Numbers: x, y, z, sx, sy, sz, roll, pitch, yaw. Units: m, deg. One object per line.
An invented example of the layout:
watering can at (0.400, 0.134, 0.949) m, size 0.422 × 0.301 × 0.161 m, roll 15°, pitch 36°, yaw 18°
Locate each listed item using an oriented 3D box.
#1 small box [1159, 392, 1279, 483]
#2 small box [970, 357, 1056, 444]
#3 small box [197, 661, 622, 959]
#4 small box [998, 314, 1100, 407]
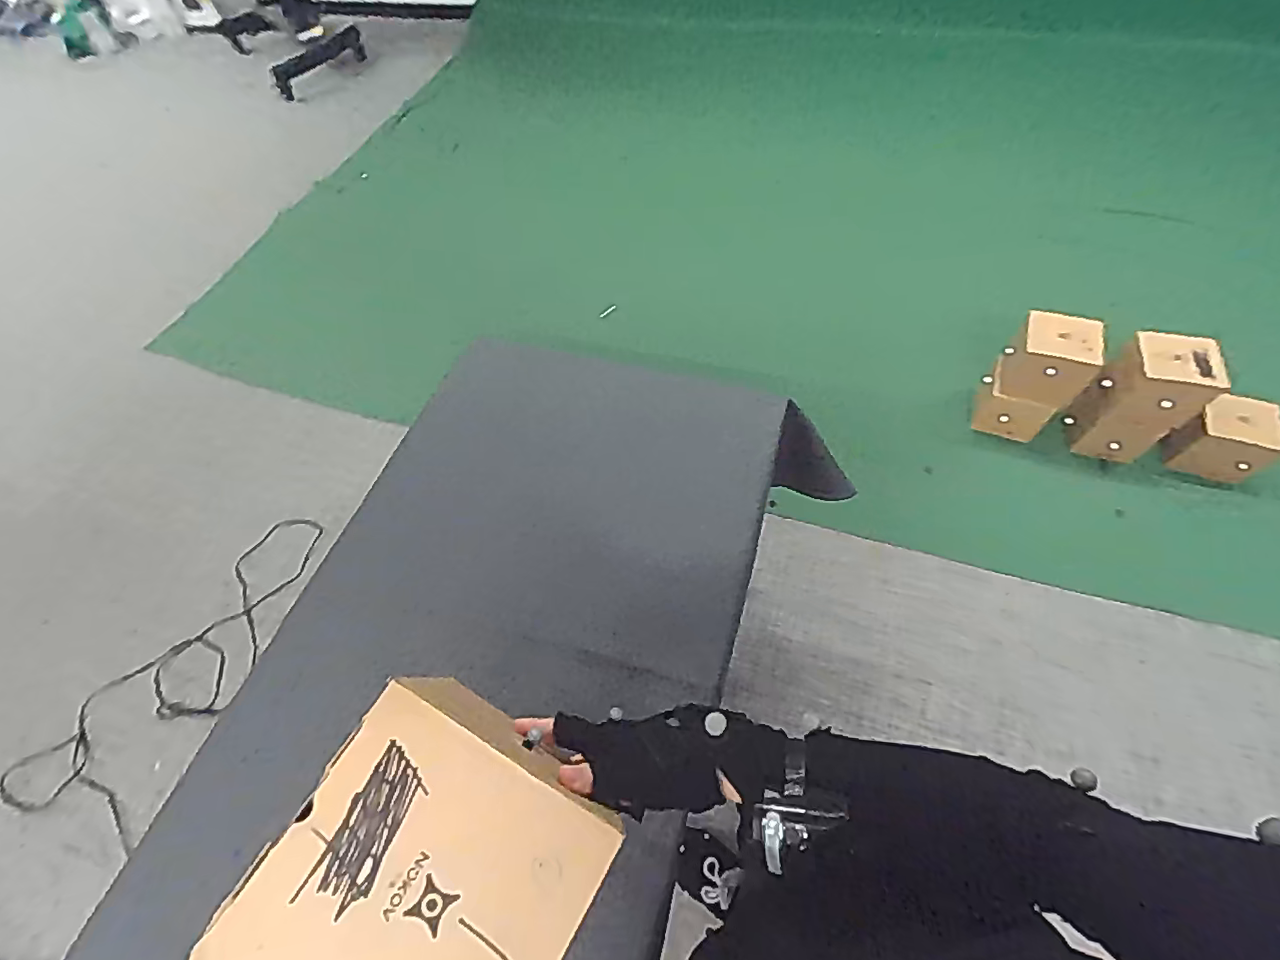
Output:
small box at (1.612, -0.113, 1.510) m, size 0.179 × 0.176 × 0.168 m, roll 18°, pitch 62°, yaw 15°
small box at (1.126, -0.235, 1.633) m, size 0.168 × 0.176 × 0.179 m, roll 18°, pitch 62°, yaw 16°
small box at (-0.134, 0.251, 0.382) m, size 0.179 × 0.176 × 0.168 m, roll 32°, pitch 69°, yaw 5°
small box at (1.123, -0.327, 1.495) m, size 0.179 × 0.176 × 0.168 m, roll 17°, pitch 62°, yaw 16°
